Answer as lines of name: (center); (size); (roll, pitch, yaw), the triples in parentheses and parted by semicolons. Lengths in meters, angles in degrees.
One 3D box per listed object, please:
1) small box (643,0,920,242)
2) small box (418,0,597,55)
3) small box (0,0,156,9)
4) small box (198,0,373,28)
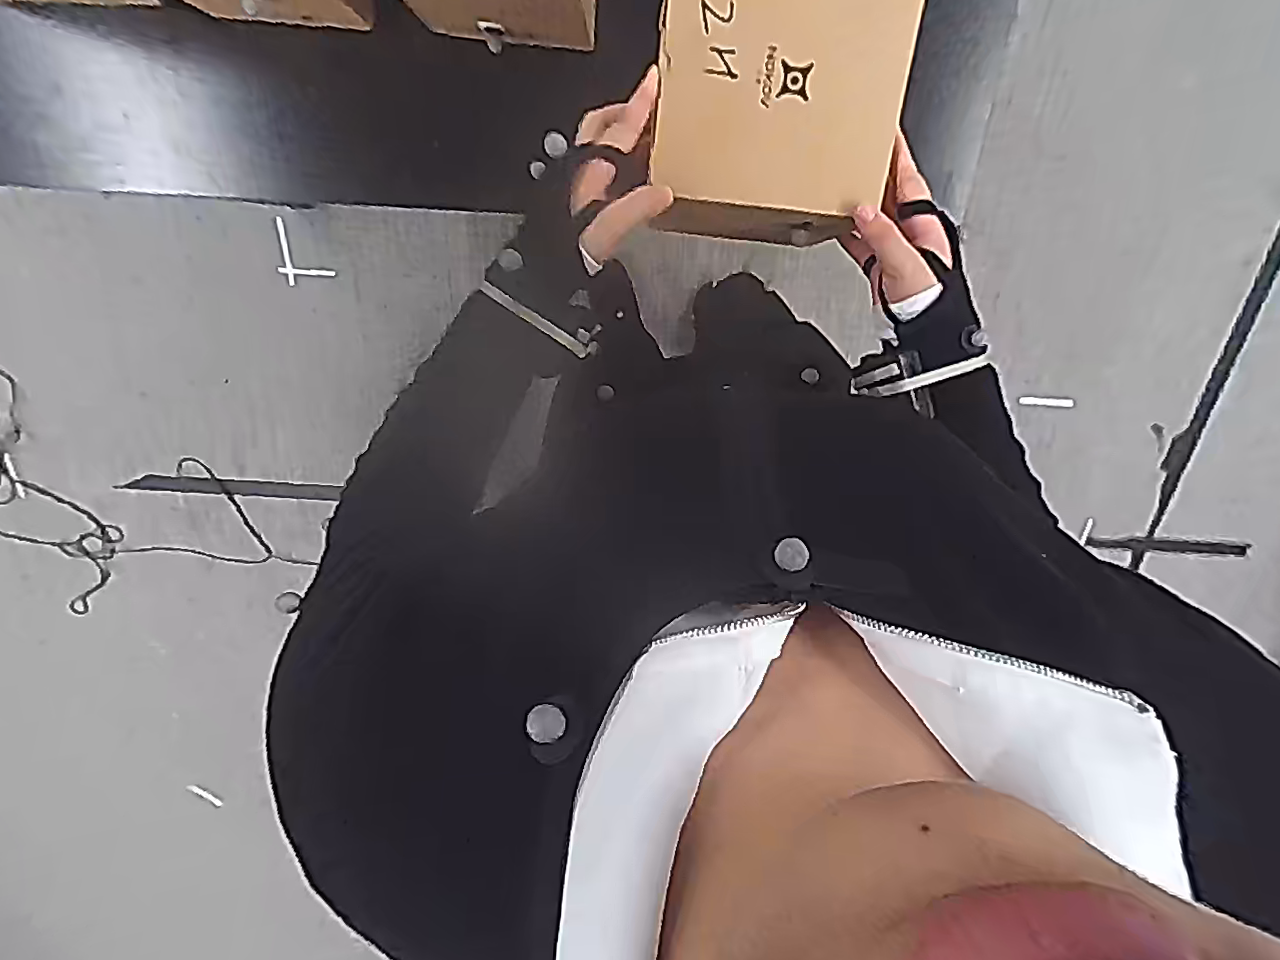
small box: (0.098, -0.307, 0.460); (0.179, 0.176, 0.168); (6, 106, -2)
small box: (-0.123, -0.505, 0.466); (0.168, 0.176, 0.179); (3, 114, -1)
small box: (-0.563, -0.525, 0.446); (0.179, 0.176, 0.168); (0, 113, -2)
small box: (-0.348, -0.518, 0.455); (0.168, 0.176, 0.179); (3, 113, -2)
